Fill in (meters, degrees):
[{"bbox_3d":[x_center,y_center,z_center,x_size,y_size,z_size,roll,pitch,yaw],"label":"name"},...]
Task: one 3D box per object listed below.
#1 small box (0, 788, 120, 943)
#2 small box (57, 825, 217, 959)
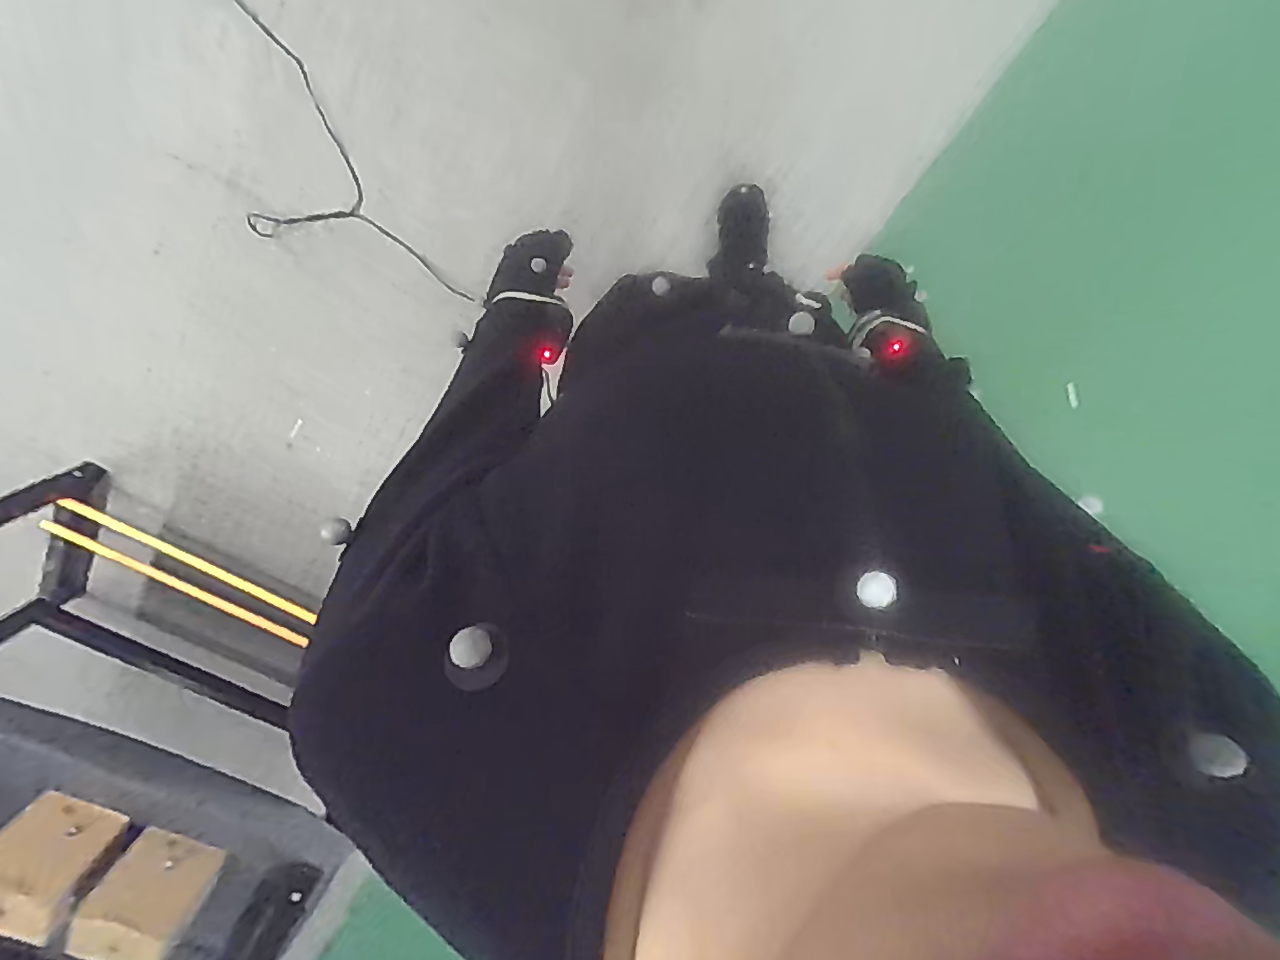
[{"bbox_3d":[-1.189,0.755,1.066,0.168,0.176,0.179,29,113,-12],"label":"small box"},{"bbox_3d":[-1.013,0.852,1.102,0.168,0.176,0.179,29,113,-11],"label":"small box"}]
